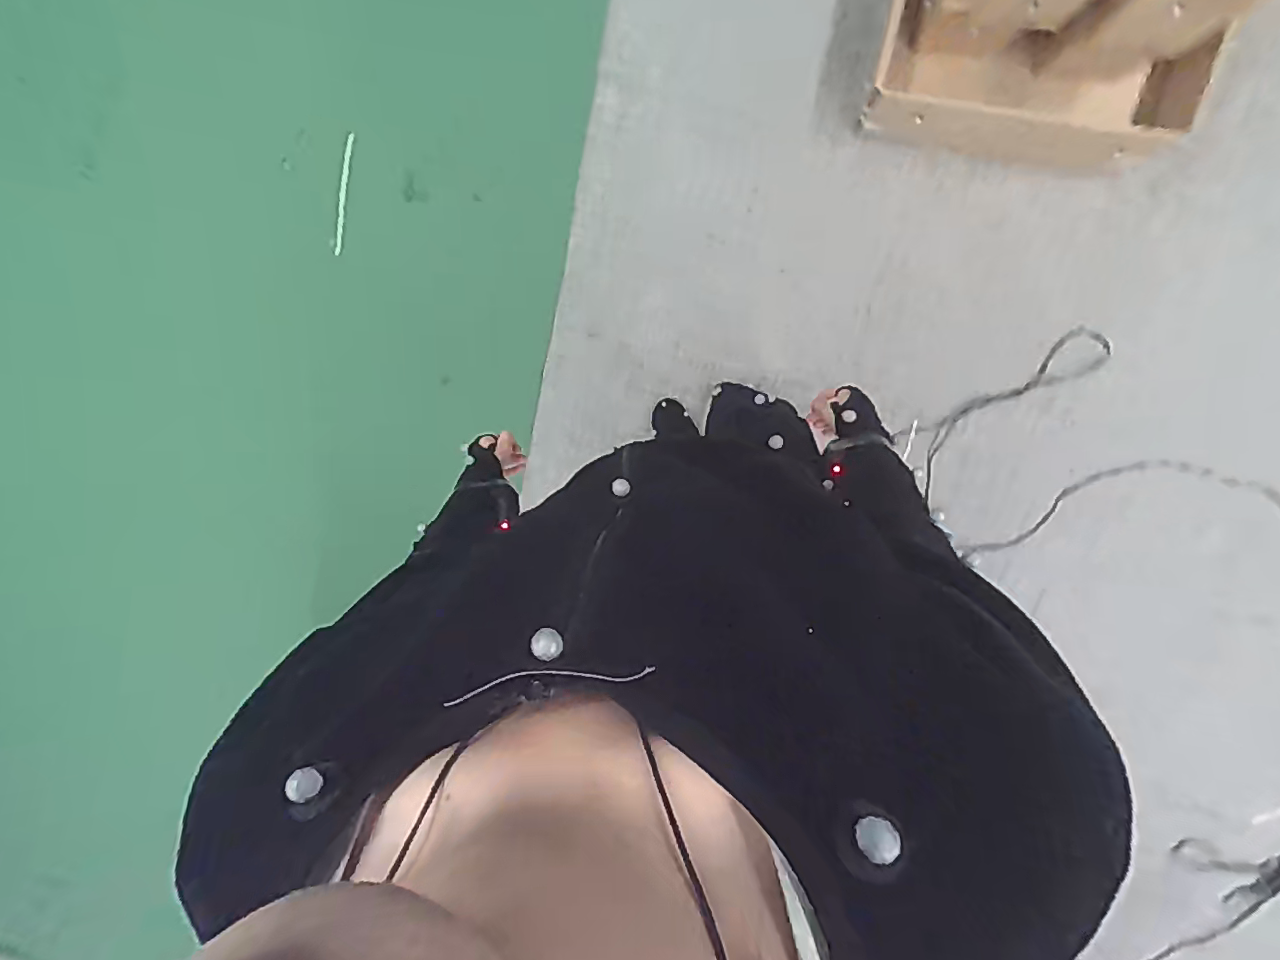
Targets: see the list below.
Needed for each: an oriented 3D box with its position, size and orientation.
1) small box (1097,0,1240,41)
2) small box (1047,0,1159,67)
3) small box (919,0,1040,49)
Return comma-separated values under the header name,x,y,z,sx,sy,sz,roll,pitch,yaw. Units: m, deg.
name,x,y,z,sx,sy,sz,roll,pitch,yaw
small box,0.920,-0.886,0.902,0.168,0.176,0.179,10,103,9
small box,0.944,-0.942,1.056,0.179,0.176,0.168,6,103,9
small box,0.690,-1.006,1.084,0.179,0.176,0.168,8,104,5
